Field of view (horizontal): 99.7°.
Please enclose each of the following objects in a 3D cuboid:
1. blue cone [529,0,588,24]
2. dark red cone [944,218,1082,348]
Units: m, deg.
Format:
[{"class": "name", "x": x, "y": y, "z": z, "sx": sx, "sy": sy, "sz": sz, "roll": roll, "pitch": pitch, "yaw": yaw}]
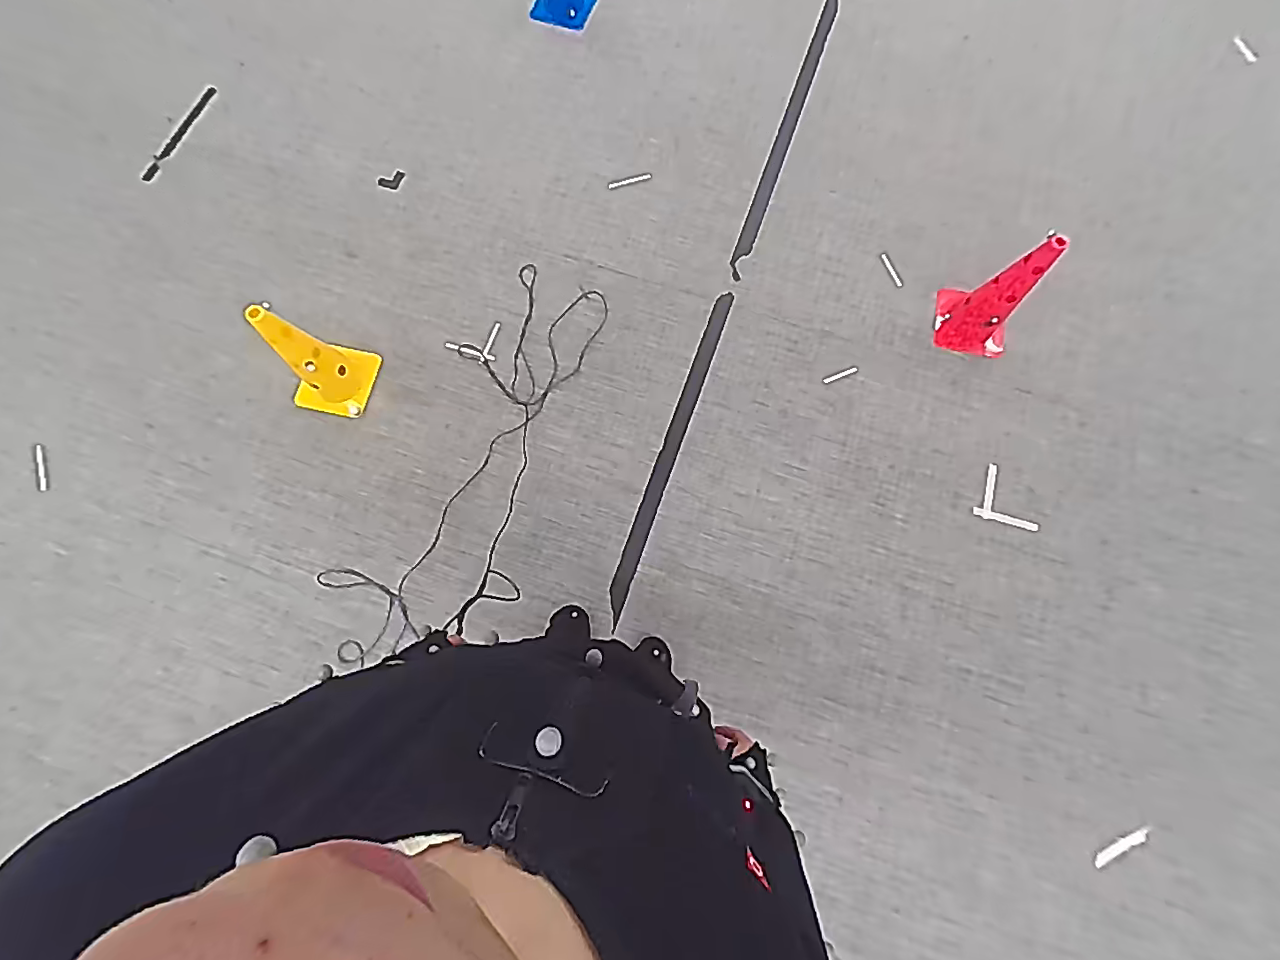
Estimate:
[{"class": "blue cone", "x": -0.281, "y": -1.712, "z": 1.726, "sx": 0.192, "sy": 0.380, "sz": 0.193, "roll": 19, "pitch": 76, "yaw": 6}, {"class": "dark red cone", "x": 0.971, "y": -0.521, "z": 1.390, "sx": 0.201, "sy": 0.394, "sz": 0.202, "roll": 11, "pitch": 76, "yaw": 4}]
